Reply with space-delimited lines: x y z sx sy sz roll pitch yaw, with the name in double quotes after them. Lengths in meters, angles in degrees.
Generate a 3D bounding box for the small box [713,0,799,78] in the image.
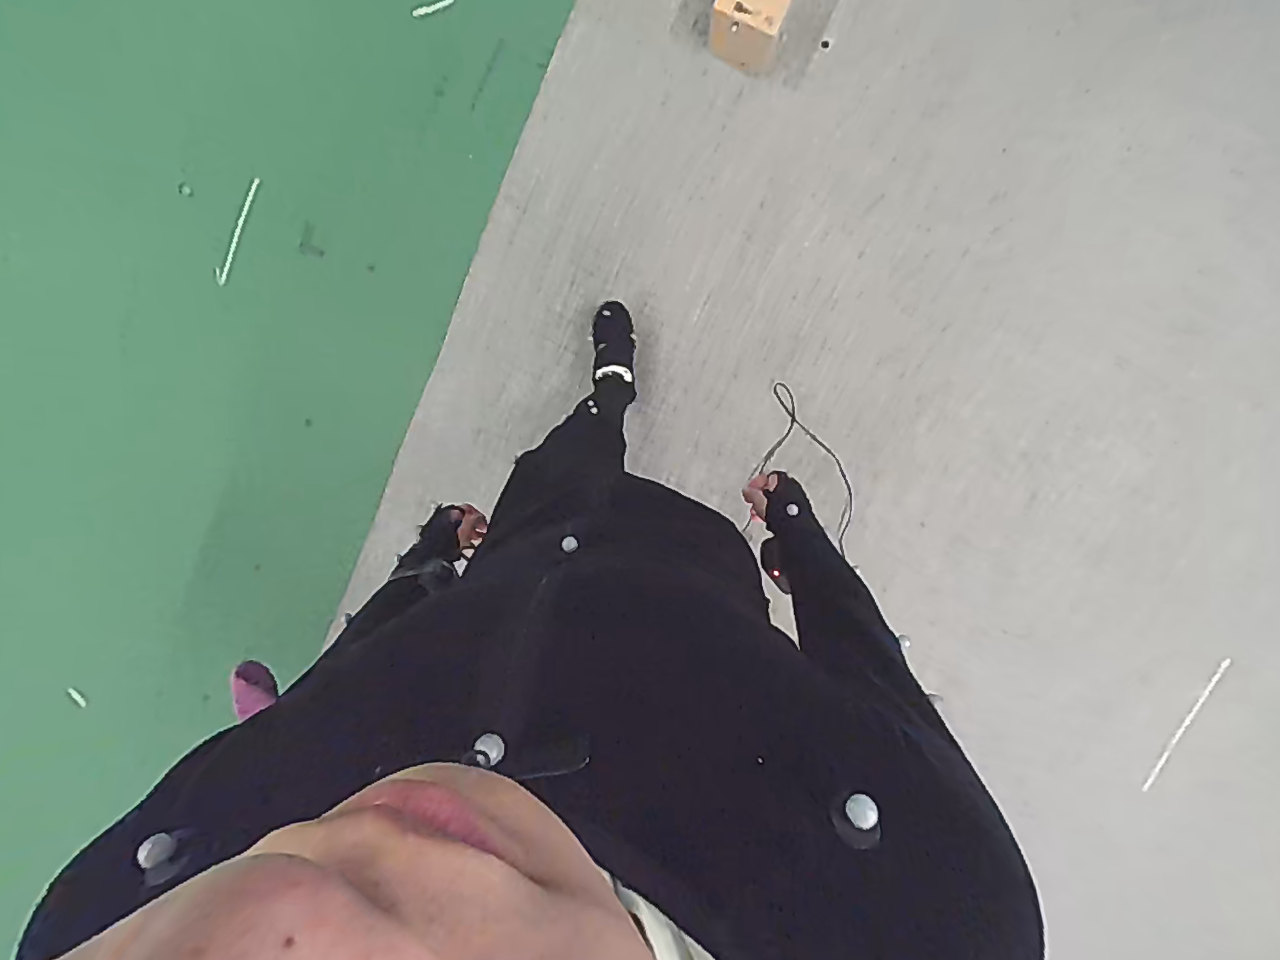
0.292 -1.163 1.341 0.168 0.176 0.179 25 97 0 "small box"
